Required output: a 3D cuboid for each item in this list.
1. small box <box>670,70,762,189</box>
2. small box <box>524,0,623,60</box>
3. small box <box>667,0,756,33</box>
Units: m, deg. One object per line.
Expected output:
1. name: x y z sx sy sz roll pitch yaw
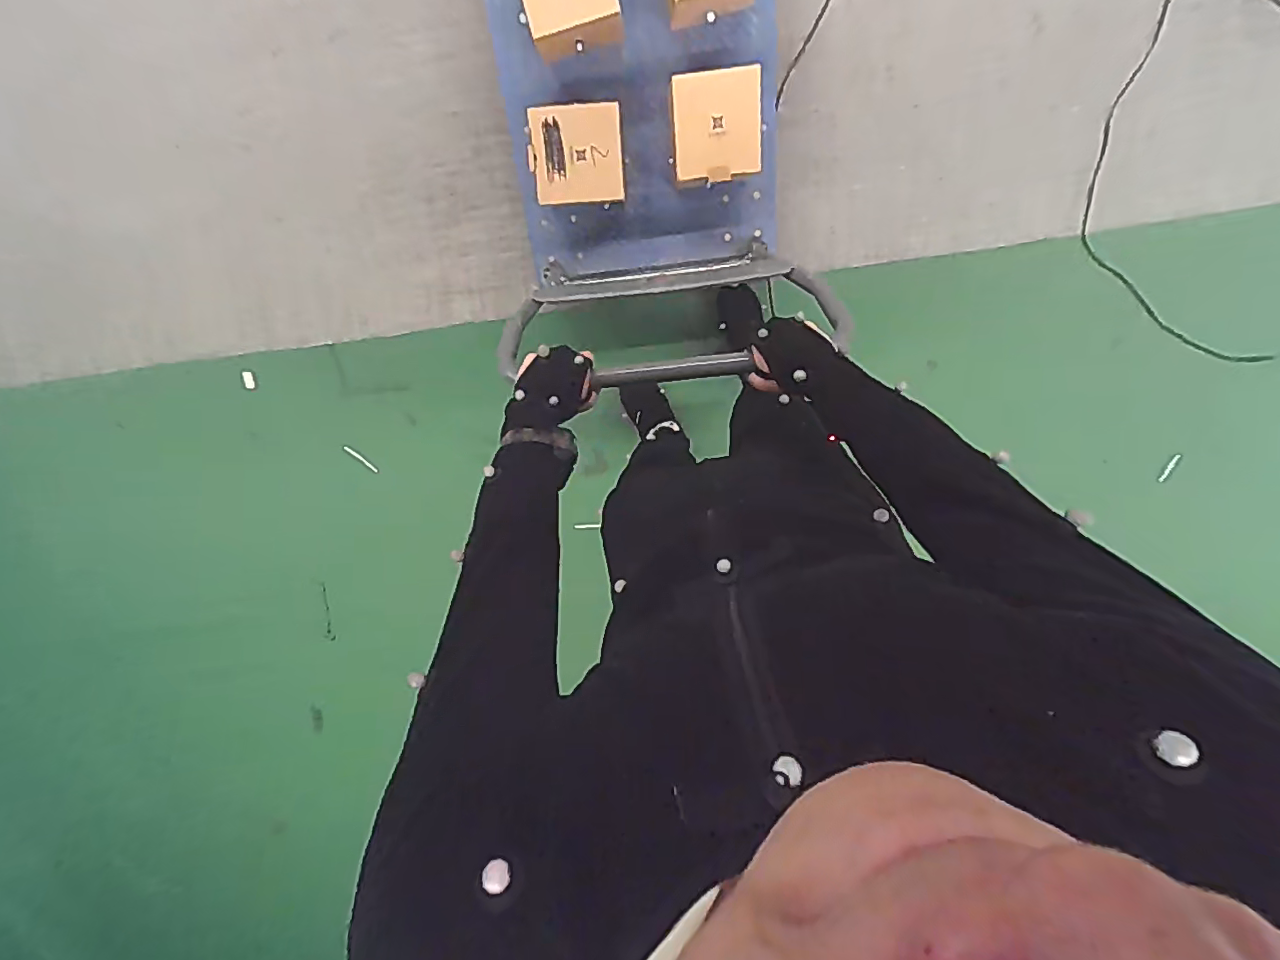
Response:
1. small box: 0.151 -0.706 1.106 0.168 0.176 0.179 -5 116 3
2. small box: -0.130 -0.916 1.005 0.168 0.176 0.179 -13 114 5
3. small box: 0.125 -0.964 0.982 0.168 0.176 0.179 -12 115 6
